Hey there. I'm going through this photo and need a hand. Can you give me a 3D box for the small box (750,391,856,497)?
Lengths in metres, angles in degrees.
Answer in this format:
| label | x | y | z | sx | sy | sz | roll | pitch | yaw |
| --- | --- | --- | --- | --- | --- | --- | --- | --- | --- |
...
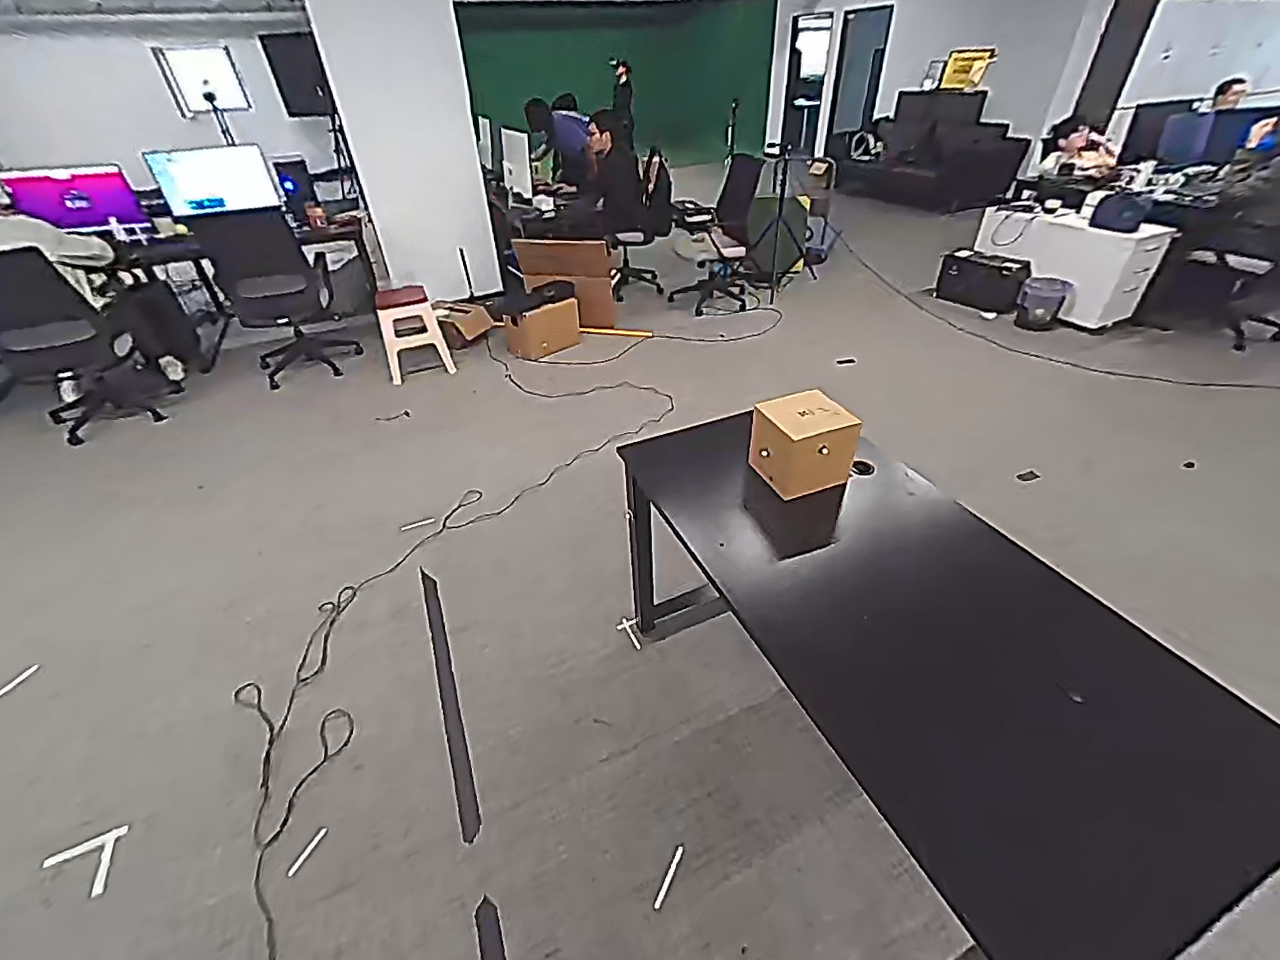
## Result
| label | x | y | z | sx | sy | sz | roll | pitch | yaw |
| --- | --- | --- | --- | --- | --- | --- | --- | --- | --- |
| small box | 0.370 | -0.083 | 1.262 | 0.179 | 0.176 | 0.168 | -15 | 39 | -16 |
